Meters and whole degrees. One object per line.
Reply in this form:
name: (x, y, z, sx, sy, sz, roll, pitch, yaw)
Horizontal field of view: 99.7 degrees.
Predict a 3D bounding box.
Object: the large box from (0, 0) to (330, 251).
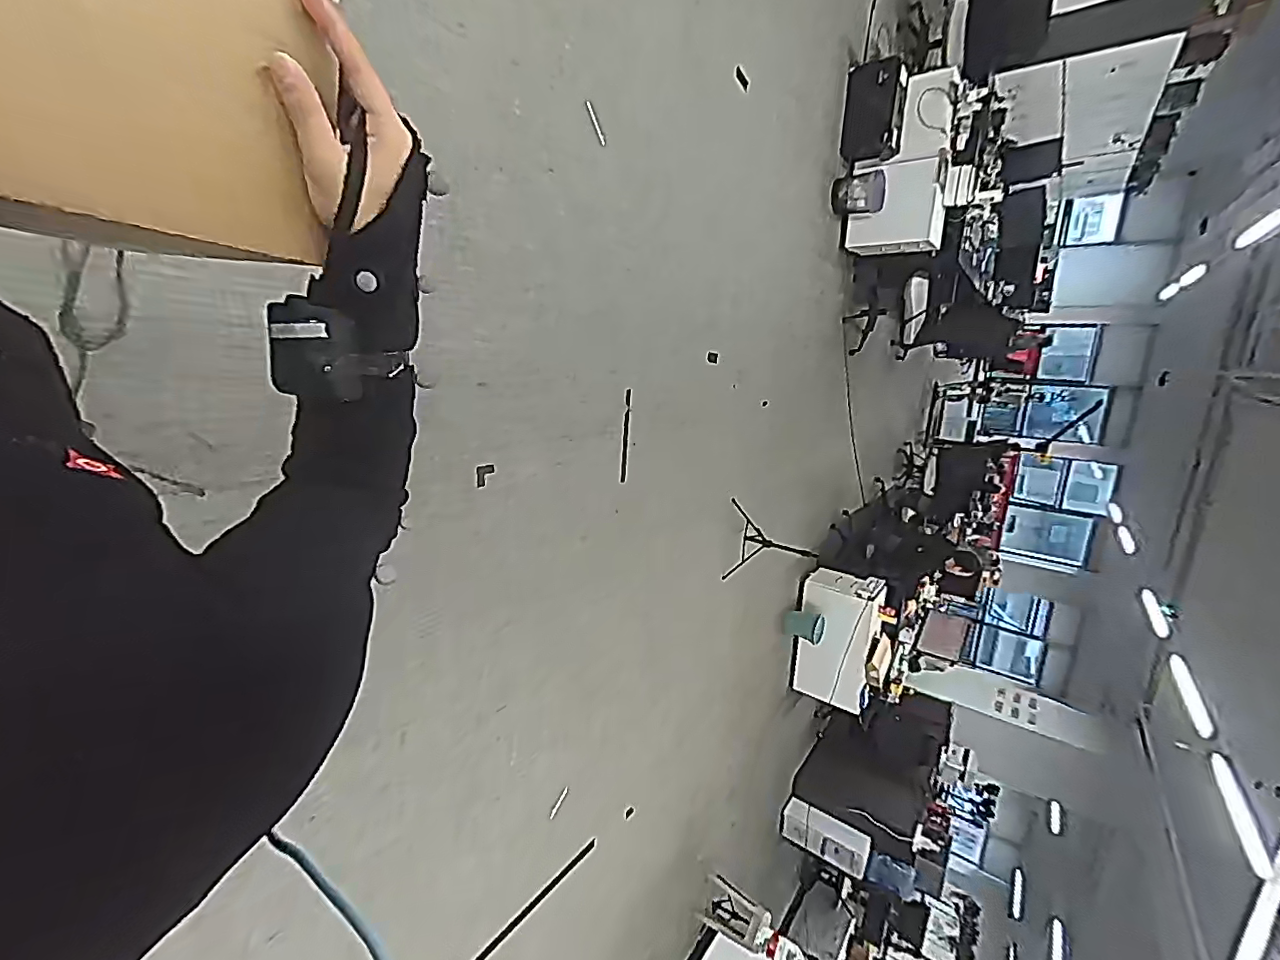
large box: (-0.418, -0.307, 0.234, 0.408, 0.320, 0.320, -12, 115, -57)
